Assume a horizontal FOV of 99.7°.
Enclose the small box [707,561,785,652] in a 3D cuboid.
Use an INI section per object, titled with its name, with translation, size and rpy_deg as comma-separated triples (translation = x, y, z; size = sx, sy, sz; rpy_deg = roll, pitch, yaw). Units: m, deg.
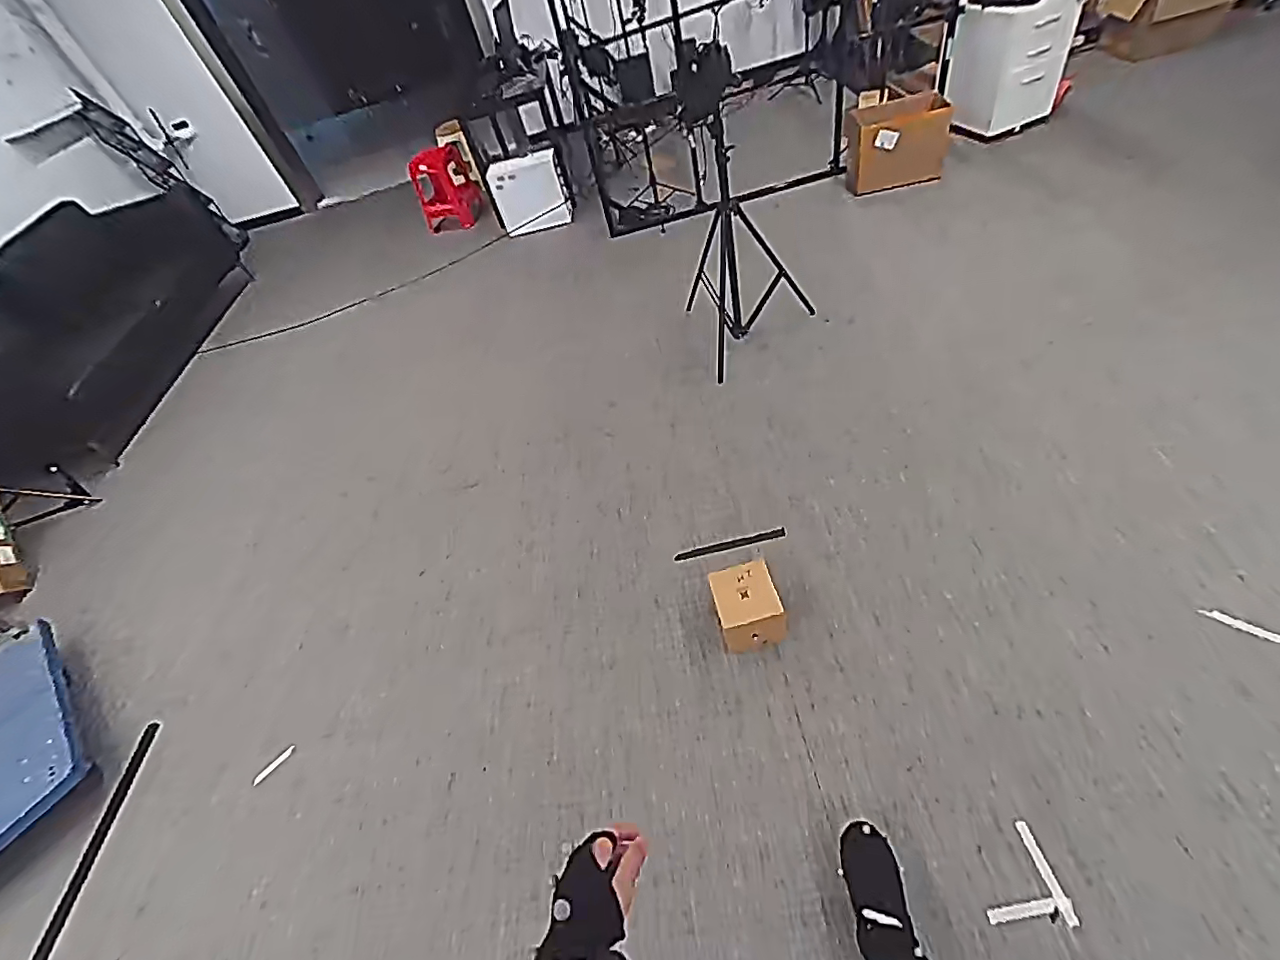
[small box]
translation = 0.298, 0.360, 1.507
size = 0.168, 0.176, 0.179
rpy_deg = -16, 47, 2
